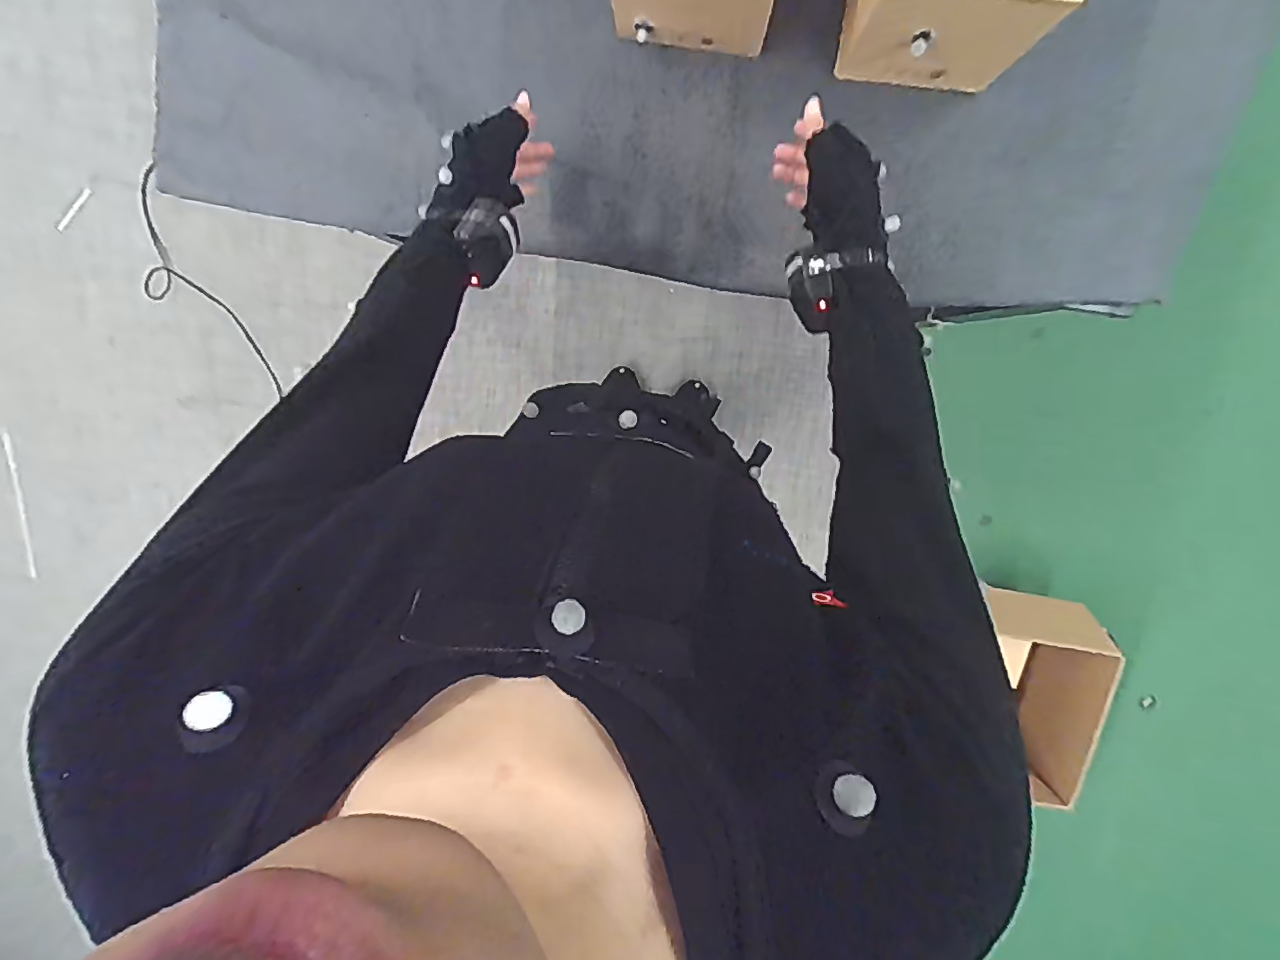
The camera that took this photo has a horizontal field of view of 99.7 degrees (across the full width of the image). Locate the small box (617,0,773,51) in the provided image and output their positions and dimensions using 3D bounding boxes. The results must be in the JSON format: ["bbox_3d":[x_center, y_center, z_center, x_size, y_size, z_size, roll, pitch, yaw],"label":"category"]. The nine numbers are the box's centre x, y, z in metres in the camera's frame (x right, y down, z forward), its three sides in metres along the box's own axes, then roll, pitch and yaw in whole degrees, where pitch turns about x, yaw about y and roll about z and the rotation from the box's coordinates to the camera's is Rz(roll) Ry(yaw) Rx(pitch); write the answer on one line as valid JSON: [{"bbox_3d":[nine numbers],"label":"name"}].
[{"bbox_3d":[0.064,-0.558,0.516,0.168,0.176,0.179,10,103,2],"label":"small box"}]

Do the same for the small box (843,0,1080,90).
[{"bbox_3d":[0.307,-0.508,0.512,0.168,0.176,0.179,8,103,3],"label":"small box"}]
